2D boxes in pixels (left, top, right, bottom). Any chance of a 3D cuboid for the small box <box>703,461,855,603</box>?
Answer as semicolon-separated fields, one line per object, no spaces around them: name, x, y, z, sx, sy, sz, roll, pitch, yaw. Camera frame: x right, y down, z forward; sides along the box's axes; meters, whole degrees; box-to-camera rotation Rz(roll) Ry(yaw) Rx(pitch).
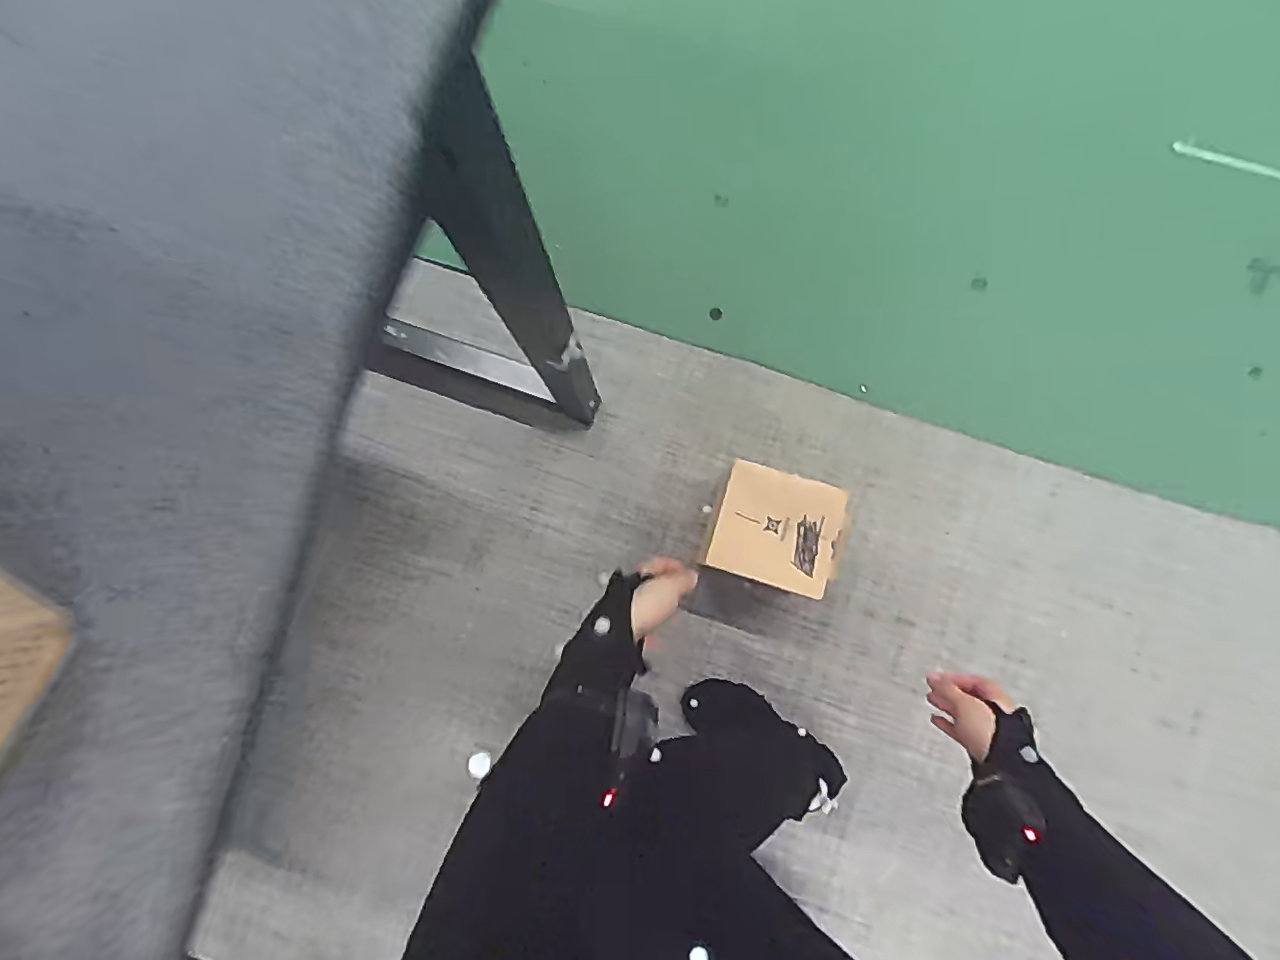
small box;0.210;0.082;0.860;0.179;0.176;0.168;17;84;5
